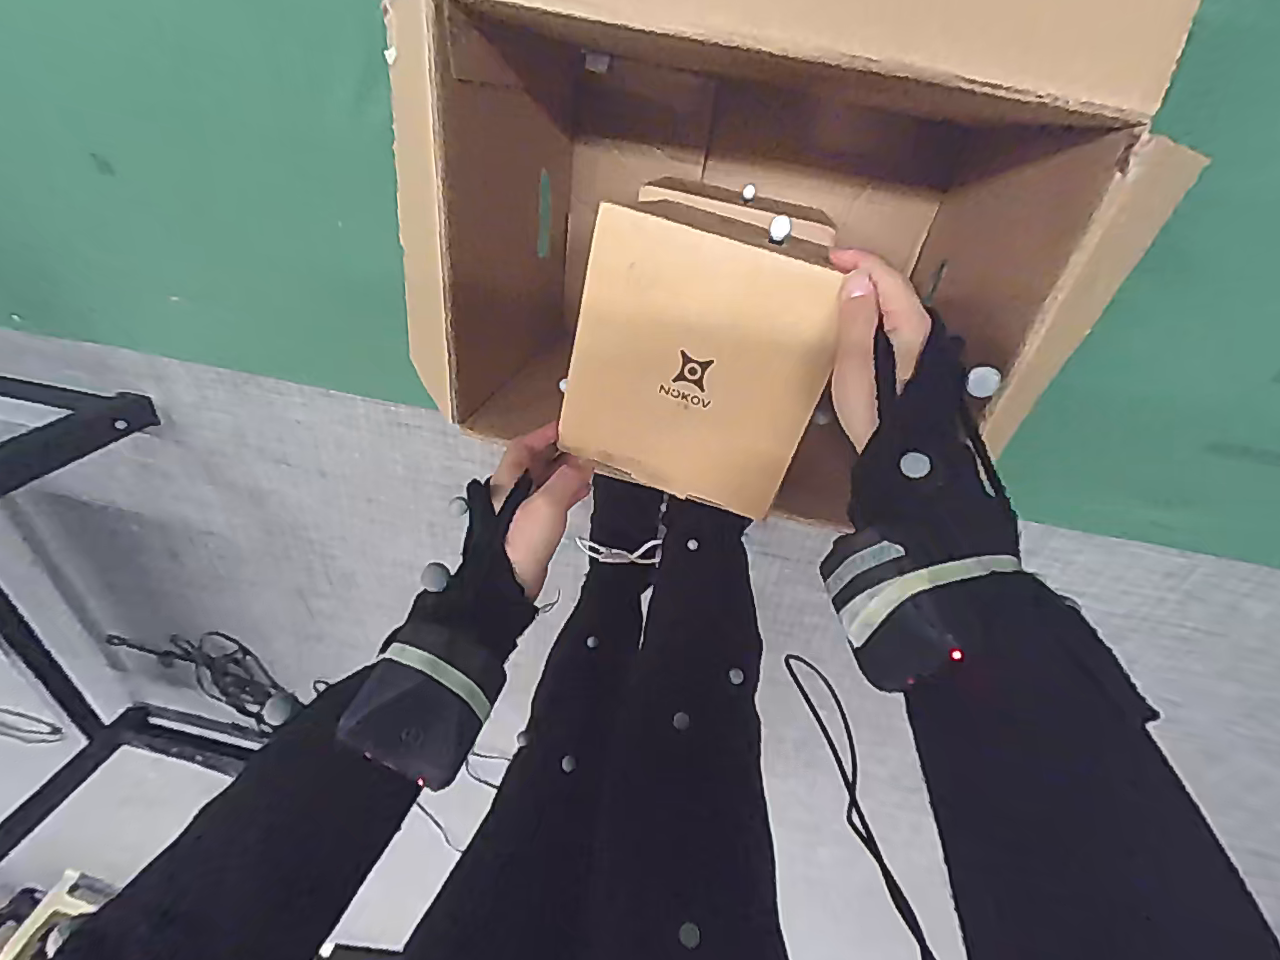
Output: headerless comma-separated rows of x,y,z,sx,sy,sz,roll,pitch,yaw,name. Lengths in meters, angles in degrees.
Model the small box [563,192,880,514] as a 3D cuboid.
0.058,-0.109,0.422,0.168,0.176,0.179,20,122,5,small box
